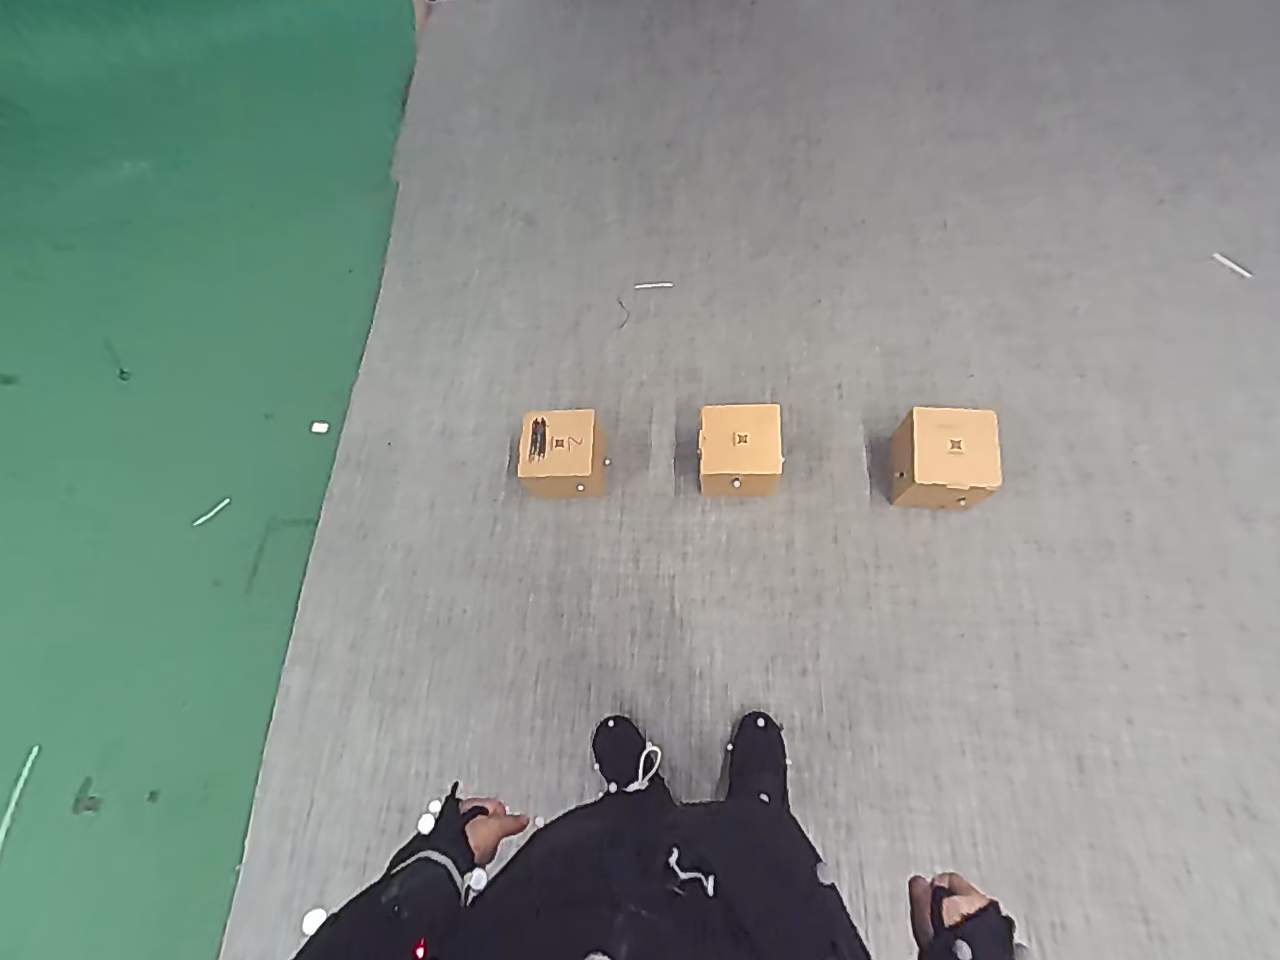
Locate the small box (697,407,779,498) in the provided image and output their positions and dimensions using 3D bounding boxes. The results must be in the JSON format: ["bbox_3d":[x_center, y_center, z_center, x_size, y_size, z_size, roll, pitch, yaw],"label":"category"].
[{"bbox_3d":[0.224,-0.060,1.257,0.179,0.176,0.168,0,71,9],"label":"small box"}]

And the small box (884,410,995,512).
[{"bbox_3d":[0.648,-0.036,1.188,0.168,0.176,0.179,5,71,8],"label":"small box"}]
